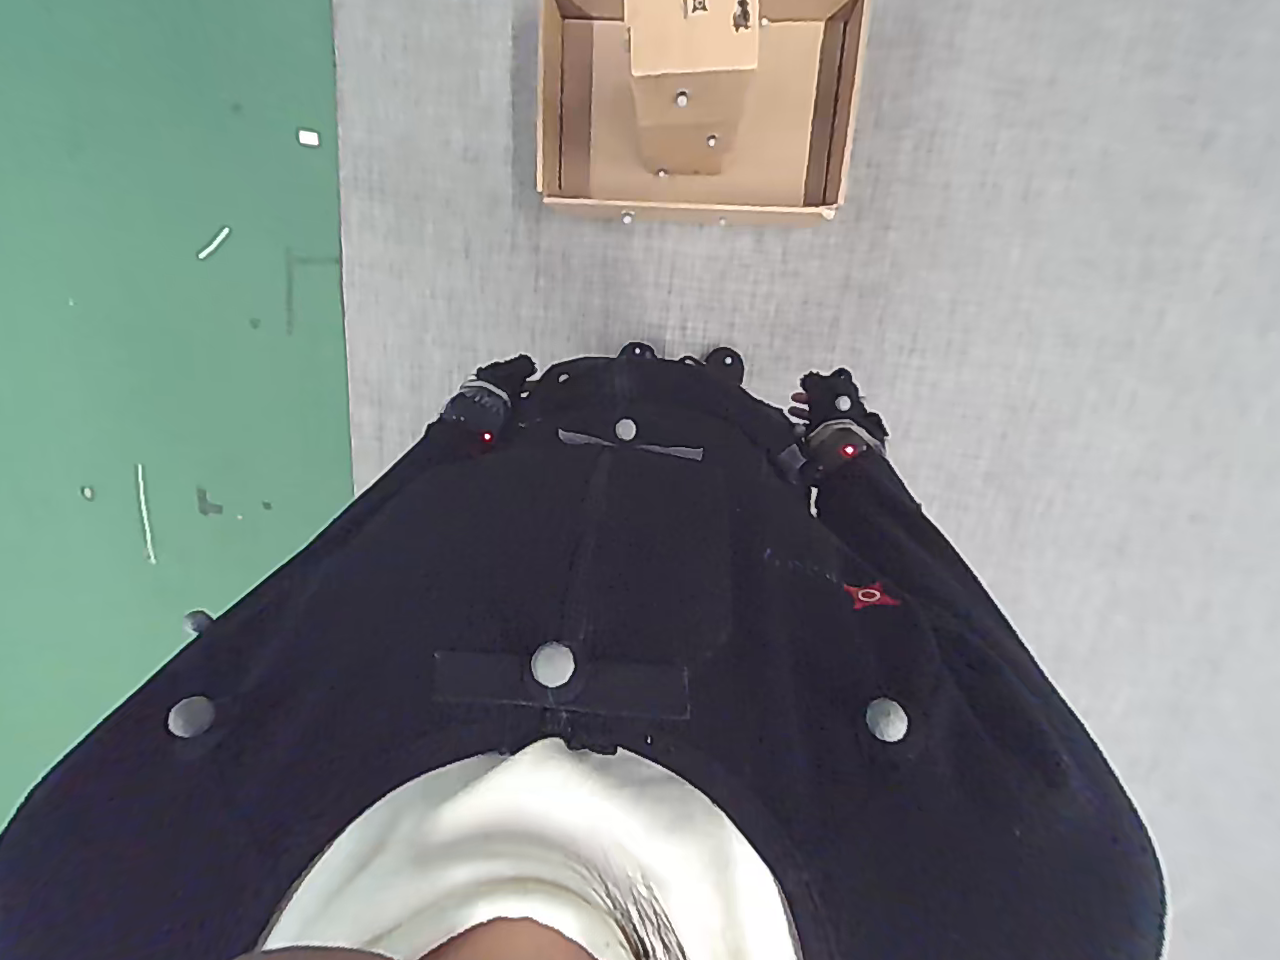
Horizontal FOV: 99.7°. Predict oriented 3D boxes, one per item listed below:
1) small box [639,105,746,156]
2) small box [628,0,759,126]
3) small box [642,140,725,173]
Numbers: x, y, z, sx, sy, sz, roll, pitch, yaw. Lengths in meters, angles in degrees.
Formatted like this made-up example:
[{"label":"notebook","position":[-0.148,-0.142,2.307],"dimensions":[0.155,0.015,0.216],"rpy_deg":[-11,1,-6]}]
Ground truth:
[{"label":"small box","position":[0.087,-0.688,0.944],"dimensions":[0.179,0.176,0.168],"rpy_deg":[-2,104,5]},{"label":"small box","position":[0.077,-0.655,0.803],"dimensions":[0.179,0.176,0.168],"rpy_deg":[-3,101,5]},{"label":"small box","position":[0.097,-0.748,1.111],"dimensions":[0.168,0.176,0.179],"rpy_deg":[4,104,4]}]
